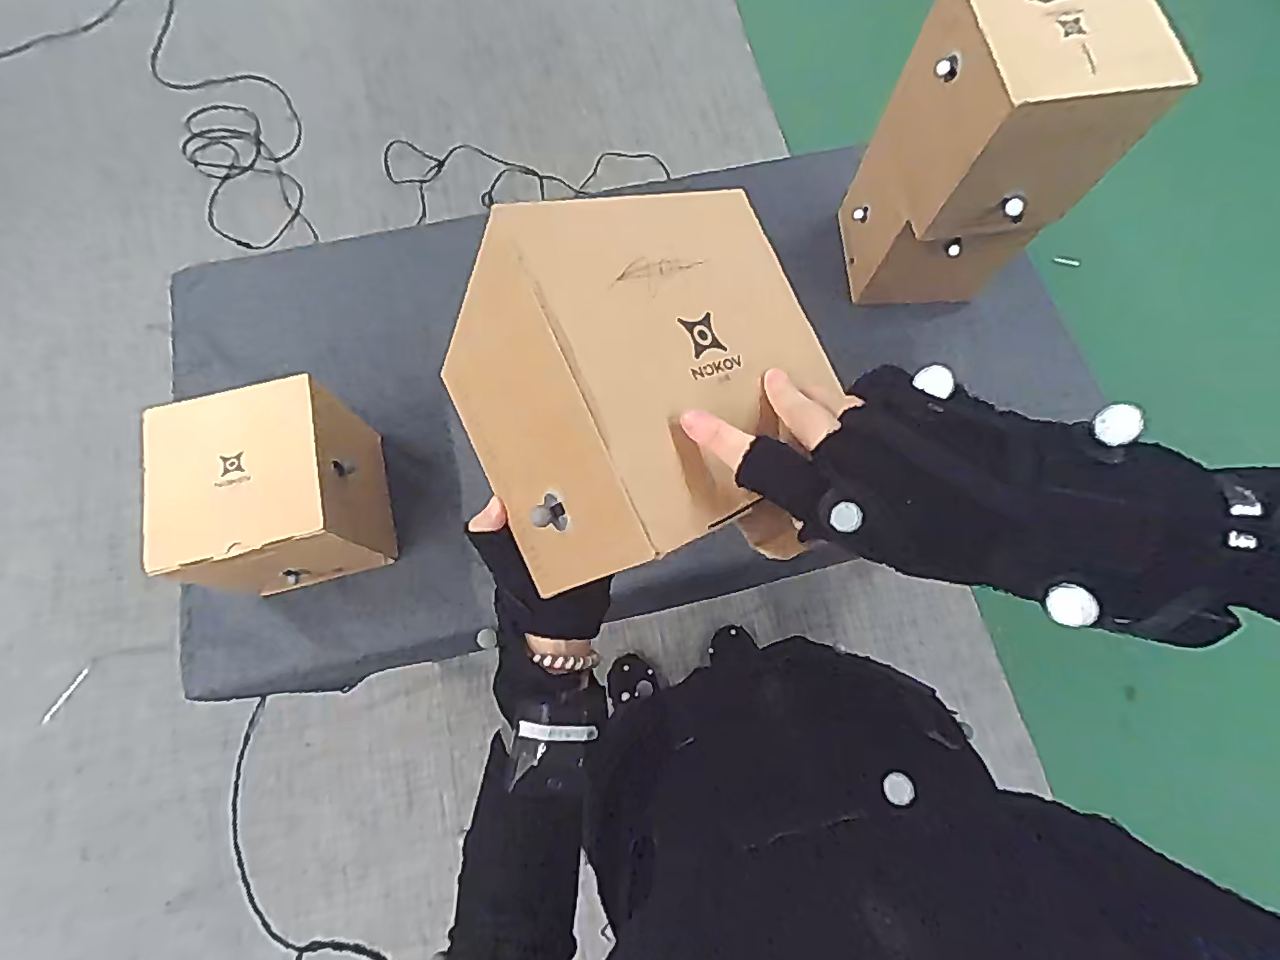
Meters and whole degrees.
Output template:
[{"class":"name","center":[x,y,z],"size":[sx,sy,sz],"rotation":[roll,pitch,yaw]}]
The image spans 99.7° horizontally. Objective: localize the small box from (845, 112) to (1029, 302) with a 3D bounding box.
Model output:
[{"class":"small box","center":[0.387,-0.354,0.719],"size":[0.179,0.176,0.168],"rotation":[-1,74,-1]}]

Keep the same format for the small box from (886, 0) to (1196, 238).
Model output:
[{"class":"small box","center":[0.381,-0.383,0.557],"size":[0.168,0.176,0.179],"rotation":[-7,74,-2]}]

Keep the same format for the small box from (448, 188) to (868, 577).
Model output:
[{"class":"small box","center":[-0.003,-0.049,0.343],"size":[0.168,0.176,0.179],"rotation":[-22,84,-33]}]

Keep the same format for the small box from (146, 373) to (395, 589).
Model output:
[{"class":"small box","center":[-0.397,0.010,0.605],"size":[0.168,0.176,0.179],"rotation":[-15,74,-5]}]
